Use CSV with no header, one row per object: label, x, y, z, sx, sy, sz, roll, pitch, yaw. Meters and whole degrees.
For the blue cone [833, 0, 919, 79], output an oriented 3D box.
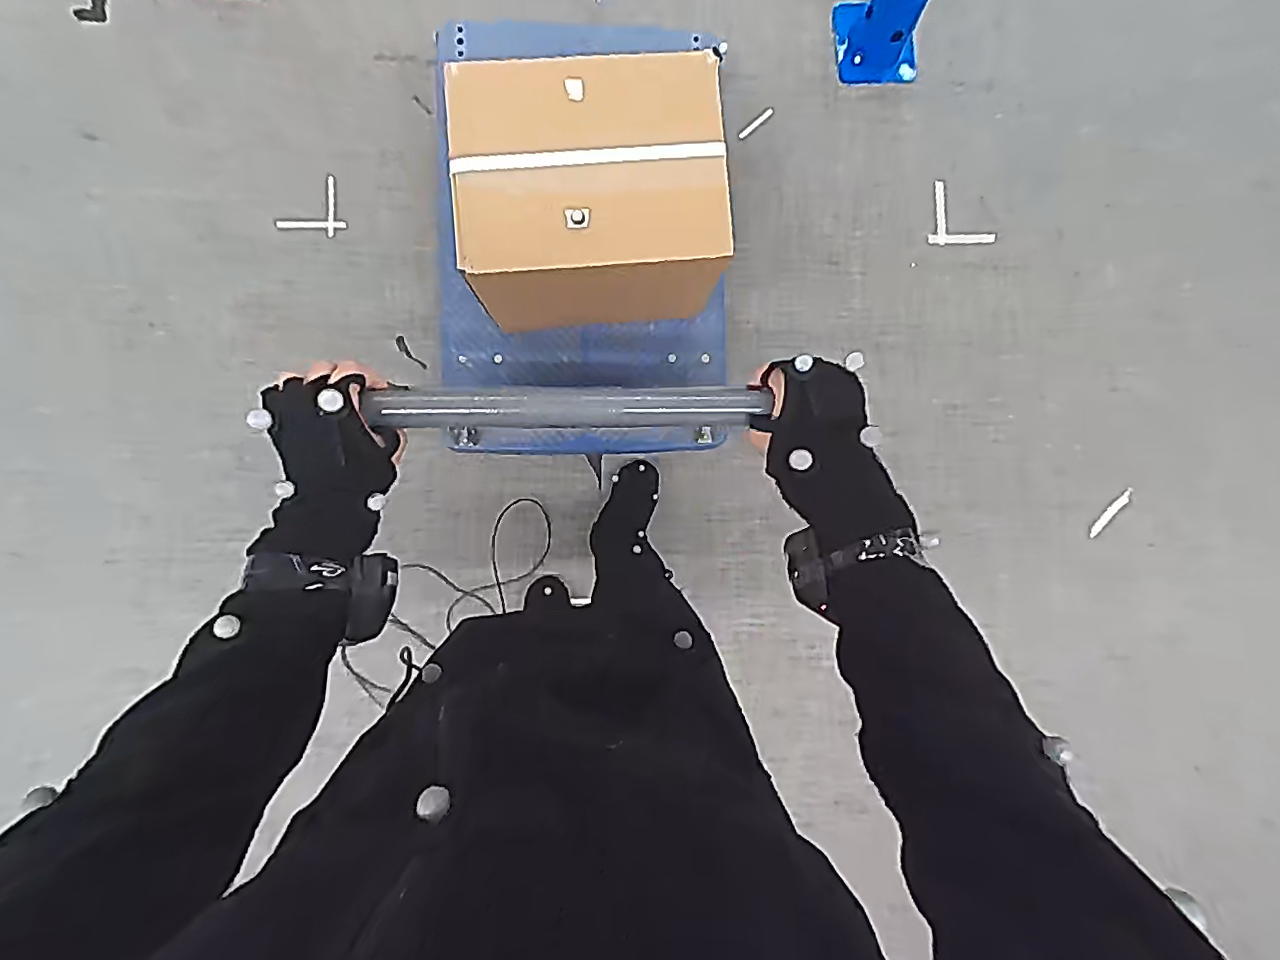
blue cone,0.590,-1.089,1.173,0.193,0.380,0.192,-4,89,-5
